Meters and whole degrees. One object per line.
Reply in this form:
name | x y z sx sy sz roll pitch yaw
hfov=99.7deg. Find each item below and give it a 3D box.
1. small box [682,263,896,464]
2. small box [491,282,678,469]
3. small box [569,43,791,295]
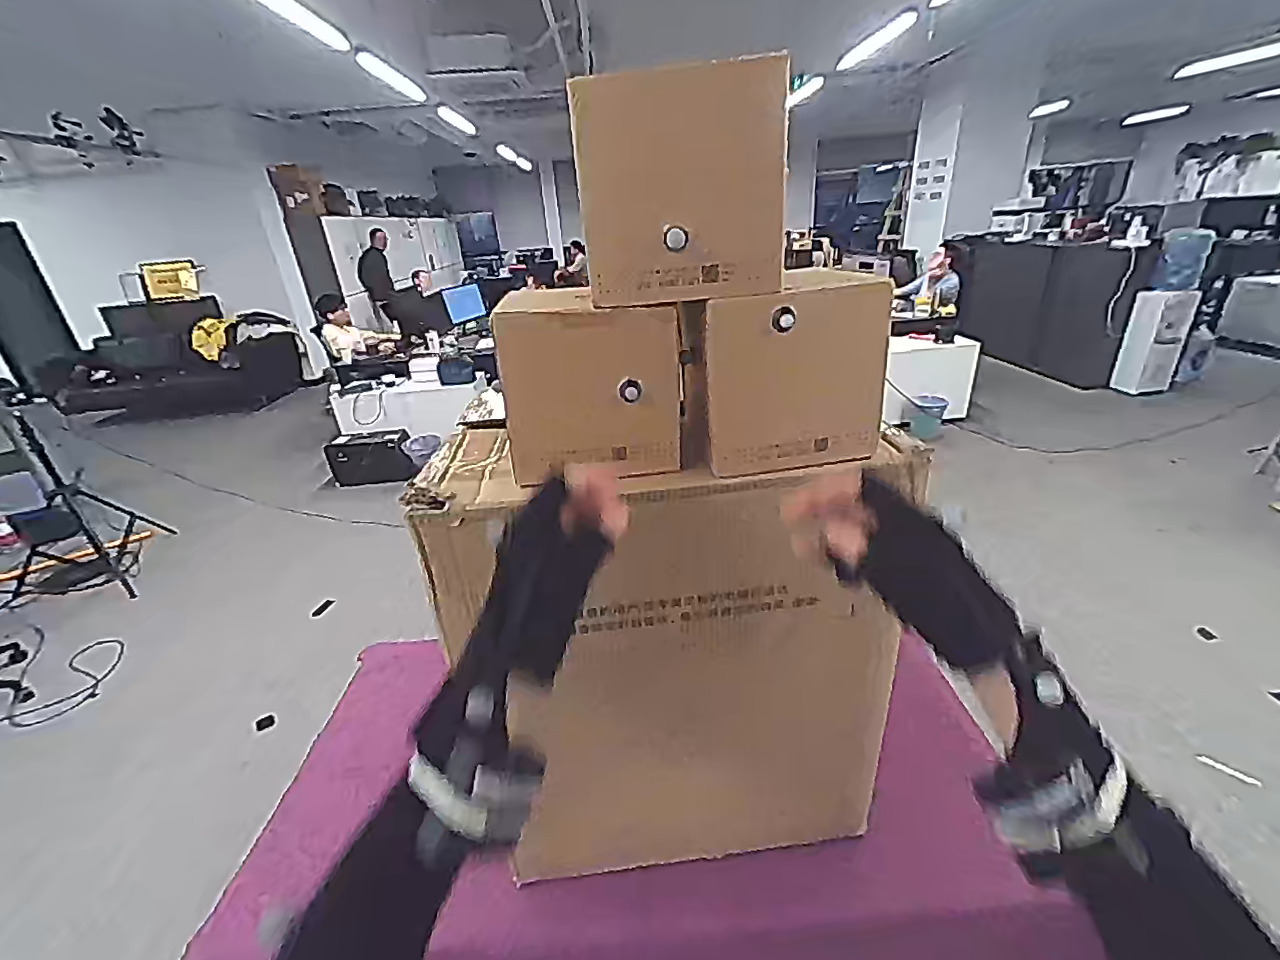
small box | 0.138 -0.128 0.567 0.168 0.176 0.179 -8 25 -3
small box | -0.054 -0.115 0.576 0.168 0.176 0.179 -4 24 -6
small box | 0.039 -0.270 0.502 0.168 0.176 0.179 -3 26 5
